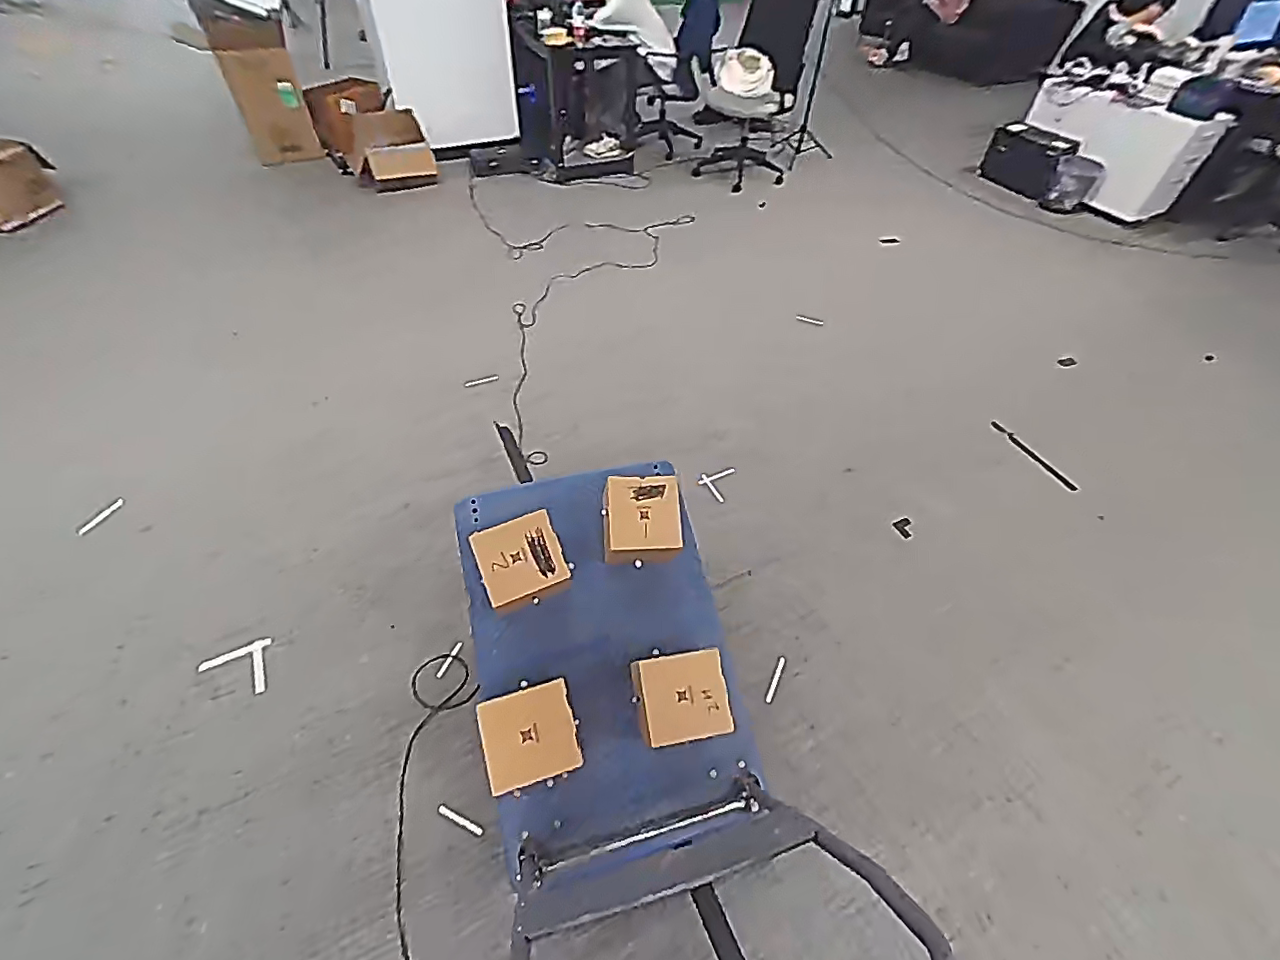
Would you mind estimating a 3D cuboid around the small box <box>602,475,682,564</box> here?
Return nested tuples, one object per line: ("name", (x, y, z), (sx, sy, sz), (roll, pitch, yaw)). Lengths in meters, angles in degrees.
("small box", (-0.002, 0.097, 1.299), (0.168, 0.176, 0.179), (-1, 71, -8))

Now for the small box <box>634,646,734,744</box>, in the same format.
("small box", (0.085, 0.464, 1.173), (0.179, 0.176, 0.168), (-7, 71, -10))

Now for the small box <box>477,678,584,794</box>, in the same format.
("small box", (-0.222, 0.518, 1.111), (0.179, 0.176, 0.168), (-14, 72, -14))
